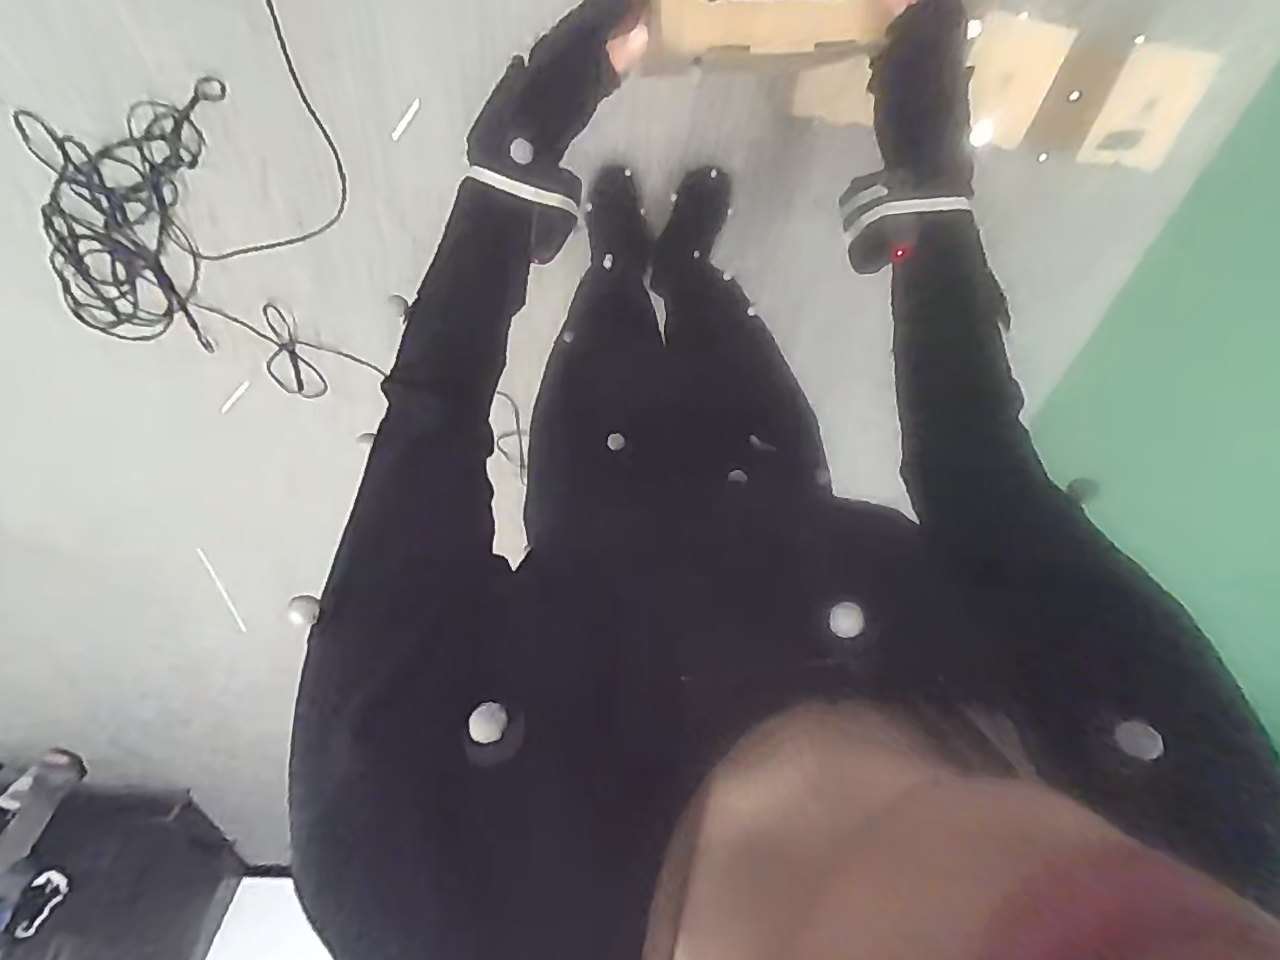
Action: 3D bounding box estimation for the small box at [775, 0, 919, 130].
[{"bbox_3d":[0.350,-0.742,0.957,0.168,0.176,0.179,6,128,-4],"label":"small box"}]

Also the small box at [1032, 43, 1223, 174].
[{"bbox_3d":[0.882,-0.693,1.008,0.168,0.176,0.179,4,128,-4],"label":"small box"}]

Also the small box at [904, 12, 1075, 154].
[{"bbox_3d":[0.616,-0.719,0.984,0.168,0.176,0.179,6,128,-6],"label":"small box"}]
